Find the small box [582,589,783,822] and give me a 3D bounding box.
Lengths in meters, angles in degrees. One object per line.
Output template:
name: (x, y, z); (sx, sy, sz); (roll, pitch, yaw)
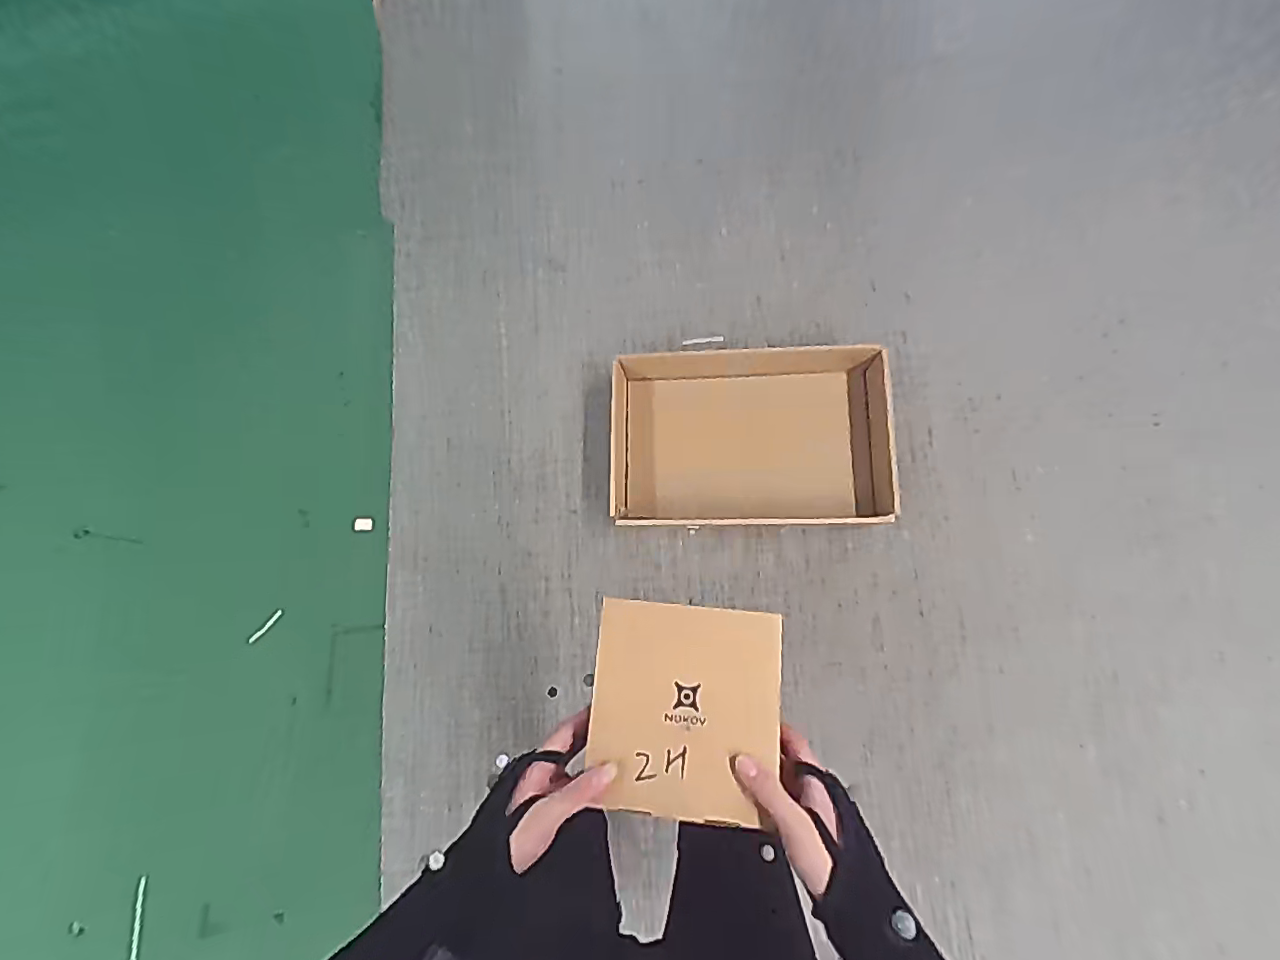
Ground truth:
small box: (0.044, 0.214, 0.547); (0.168, 0.176, 0.179); (4, 73, 5)
